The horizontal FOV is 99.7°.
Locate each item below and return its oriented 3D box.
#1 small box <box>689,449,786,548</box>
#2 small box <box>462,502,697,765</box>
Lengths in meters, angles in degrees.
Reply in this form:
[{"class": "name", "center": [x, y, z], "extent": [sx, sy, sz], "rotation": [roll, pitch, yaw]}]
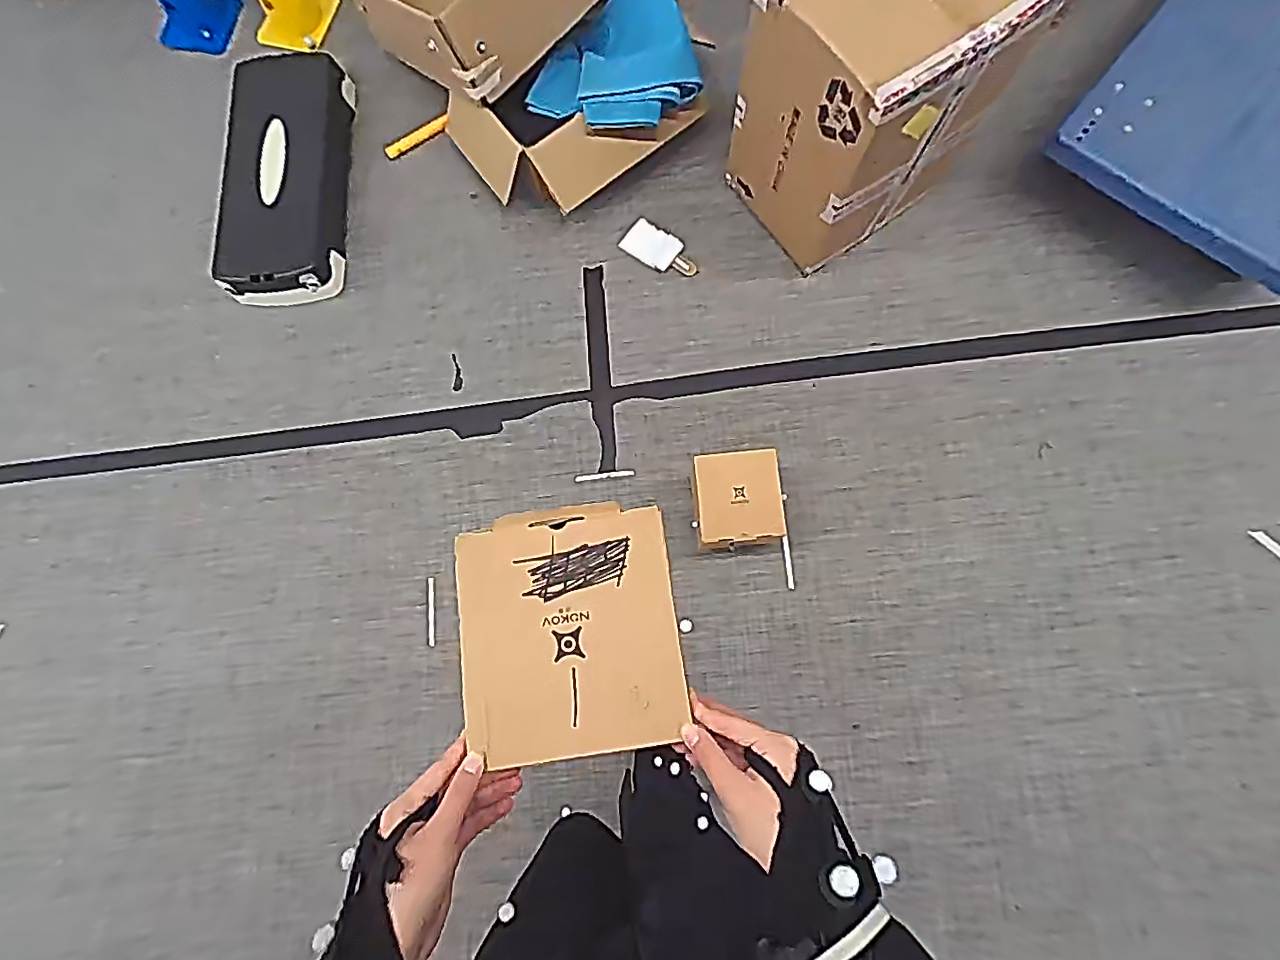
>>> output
[{"class": "small box", "center": [0.196, 0.044, 1.132], "extent": [0.168, 0.176, 0.179], "rotation": [-6, 79, 2]}, {"class": "small box", "center": [-0.049, 0.132, 0.480], "extent": [0.168, 0.176, 0.179], "rotation": [-8, 74, -1]}]
